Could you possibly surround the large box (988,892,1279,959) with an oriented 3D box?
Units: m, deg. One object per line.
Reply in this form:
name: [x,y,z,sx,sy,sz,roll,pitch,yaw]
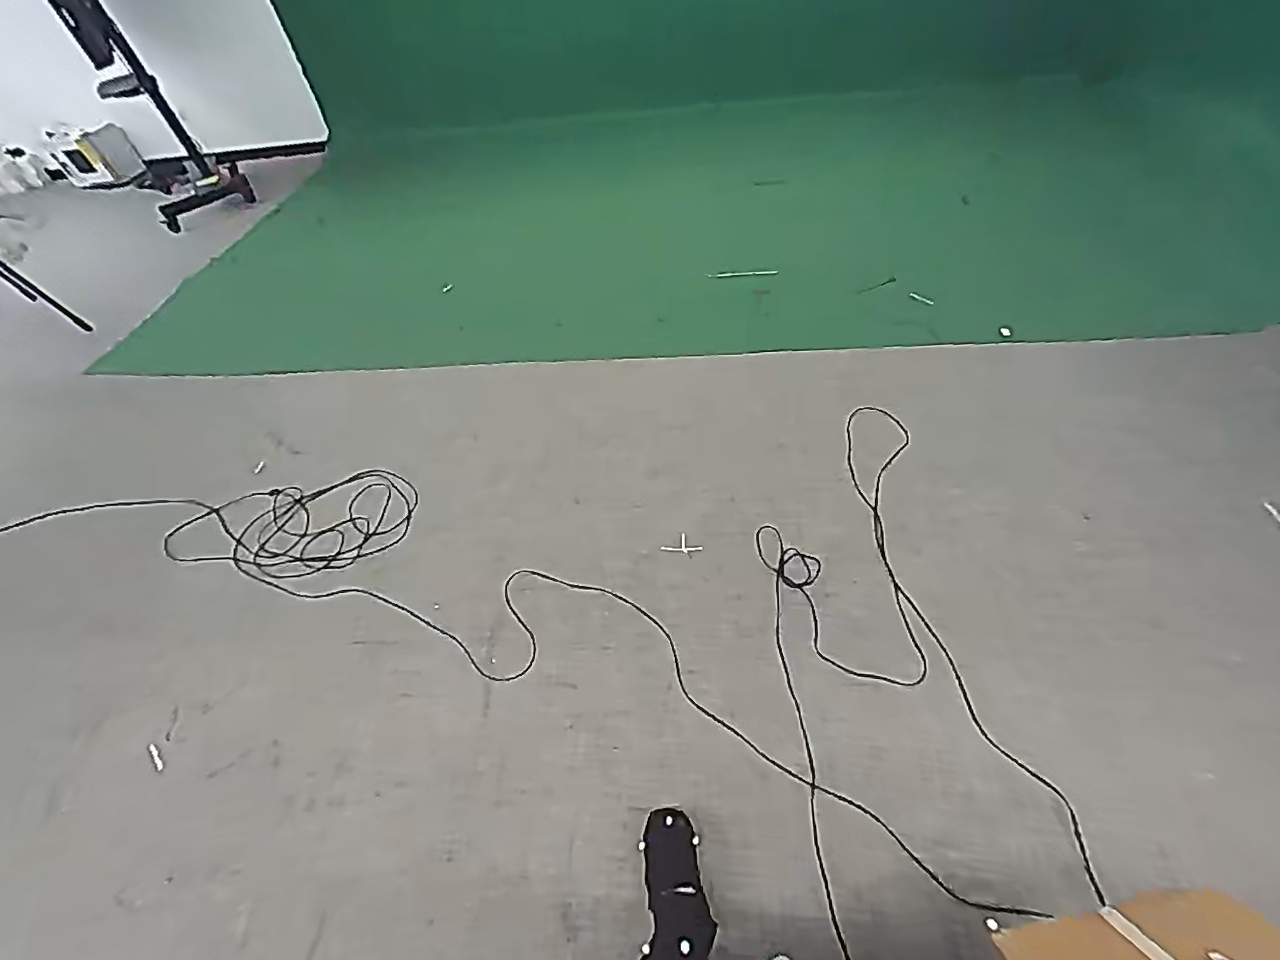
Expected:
large box: [0.656,0.725,0.535,0.320,0.408,0.320,-13,82,3]
